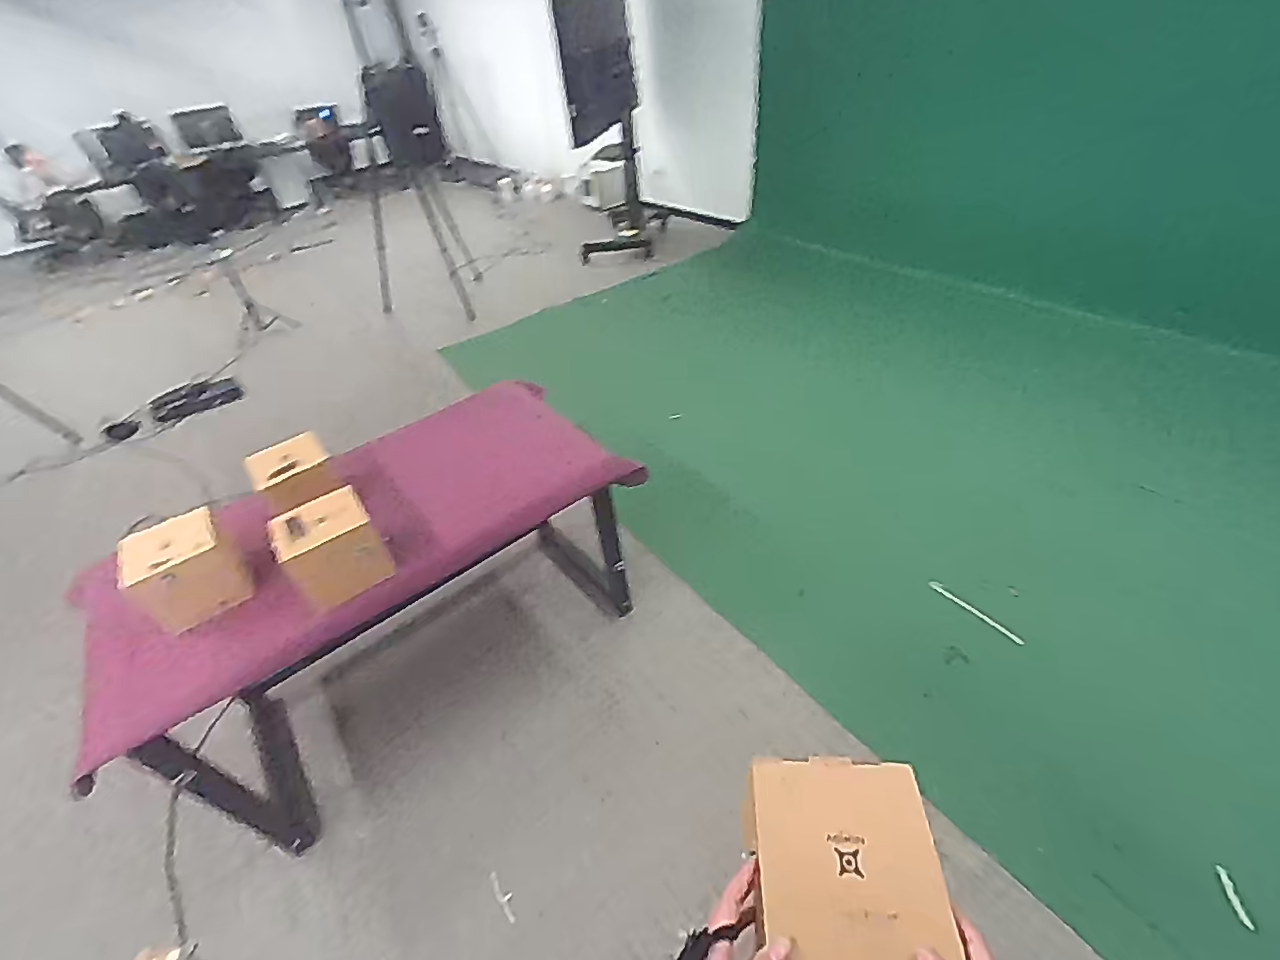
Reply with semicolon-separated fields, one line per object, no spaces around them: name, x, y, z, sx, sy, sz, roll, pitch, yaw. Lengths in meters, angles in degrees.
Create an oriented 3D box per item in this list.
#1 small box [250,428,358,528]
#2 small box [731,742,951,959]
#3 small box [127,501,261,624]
small box;-0.863;0.001;1.401;0.168;0.176;0.179;-31;46;-26
small box;0.186;0.400;0.565;0.168;0.176;0.179;0;44;5
small box;-0.987;0.184;1.205;0.168;0.176;0.179;-31;46;-24
